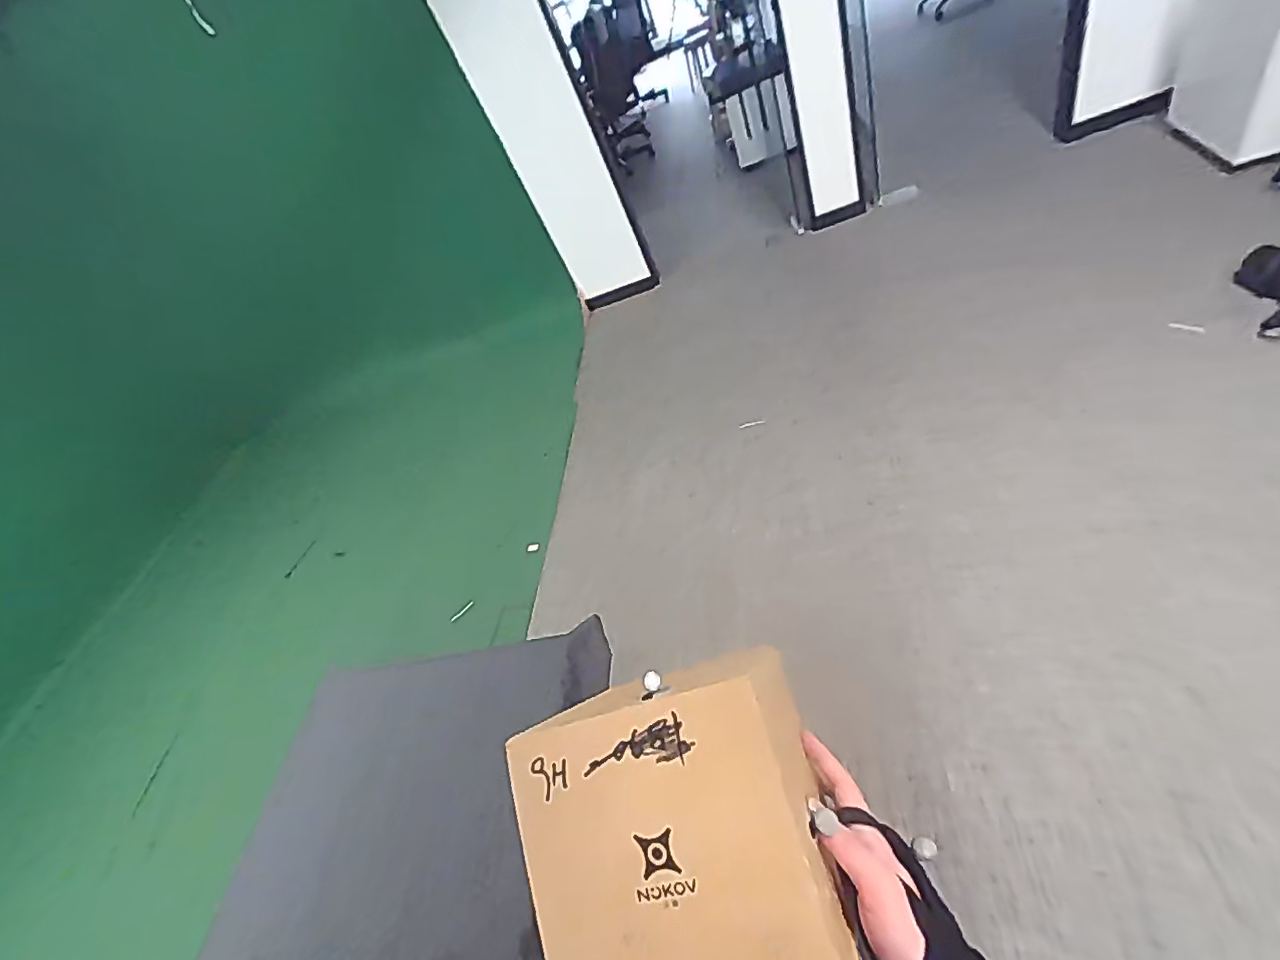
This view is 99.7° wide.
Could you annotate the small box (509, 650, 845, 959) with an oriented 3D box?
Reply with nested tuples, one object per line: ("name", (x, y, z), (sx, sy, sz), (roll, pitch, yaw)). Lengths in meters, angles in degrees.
("small box", (0.036, 0.234, 0.380), (0.168, 0.176, 0.179), (-20, 74, 13))
